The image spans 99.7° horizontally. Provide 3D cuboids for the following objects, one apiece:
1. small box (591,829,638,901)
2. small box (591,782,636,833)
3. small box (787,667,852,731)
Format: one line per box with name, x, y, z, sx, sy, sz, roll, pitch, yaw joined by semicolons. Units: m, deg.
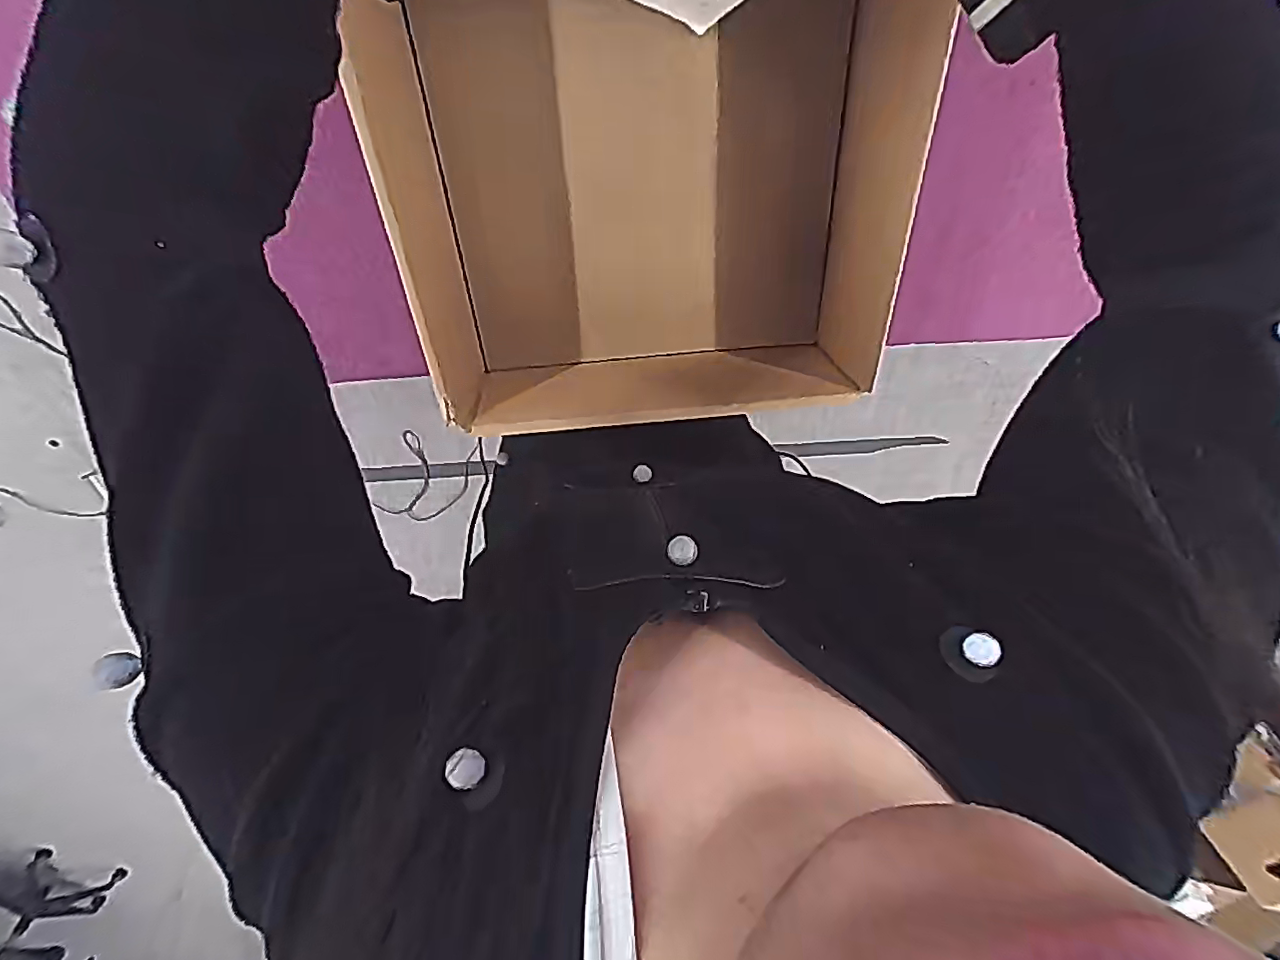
small box;-0.096;1.401;1.978;0.168;0.176;0.179;-2;124;-3
small box;-0.108;1.299;2.106;0.168;0.176;0.179;0;126;-5
small box;0.754;0.921;2.281;0.179;0.176;0.168;33;117;-24
